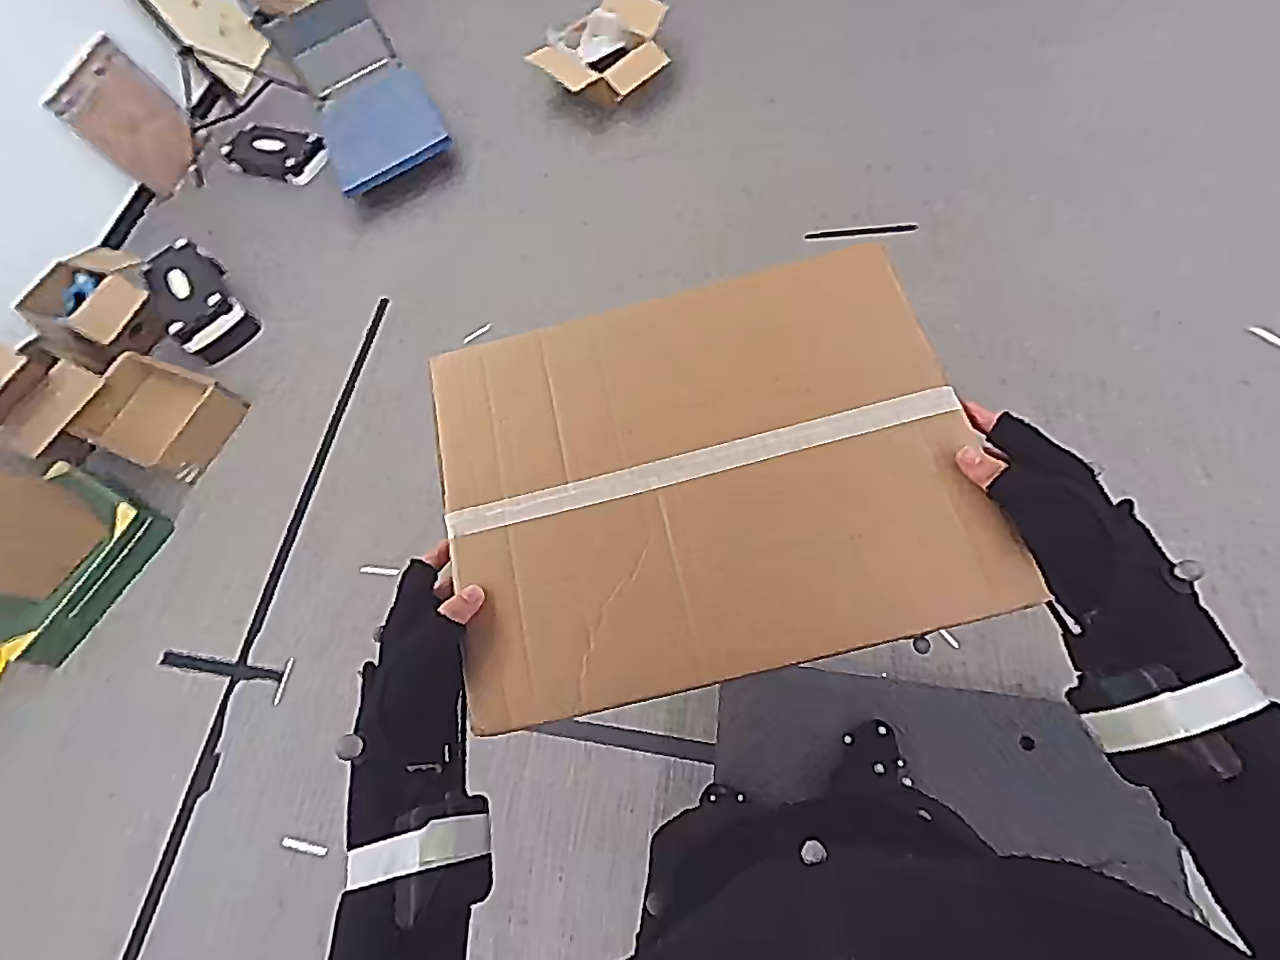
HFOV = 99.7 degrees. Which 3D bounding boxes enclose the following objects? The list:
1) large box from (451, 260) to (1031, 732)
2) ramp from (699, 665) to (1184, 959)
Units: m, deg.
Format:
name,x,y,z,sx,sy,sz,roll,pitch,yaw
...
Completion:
name,x,y,z,sx,sy,sz,roll,pitch,yaw
large box,0.070,0.037,0.572,0.408,0.320,0.320,-13,71,1
ramp,0.648,0.716,1.230,0.991,0.206,0.509,1,65,12
